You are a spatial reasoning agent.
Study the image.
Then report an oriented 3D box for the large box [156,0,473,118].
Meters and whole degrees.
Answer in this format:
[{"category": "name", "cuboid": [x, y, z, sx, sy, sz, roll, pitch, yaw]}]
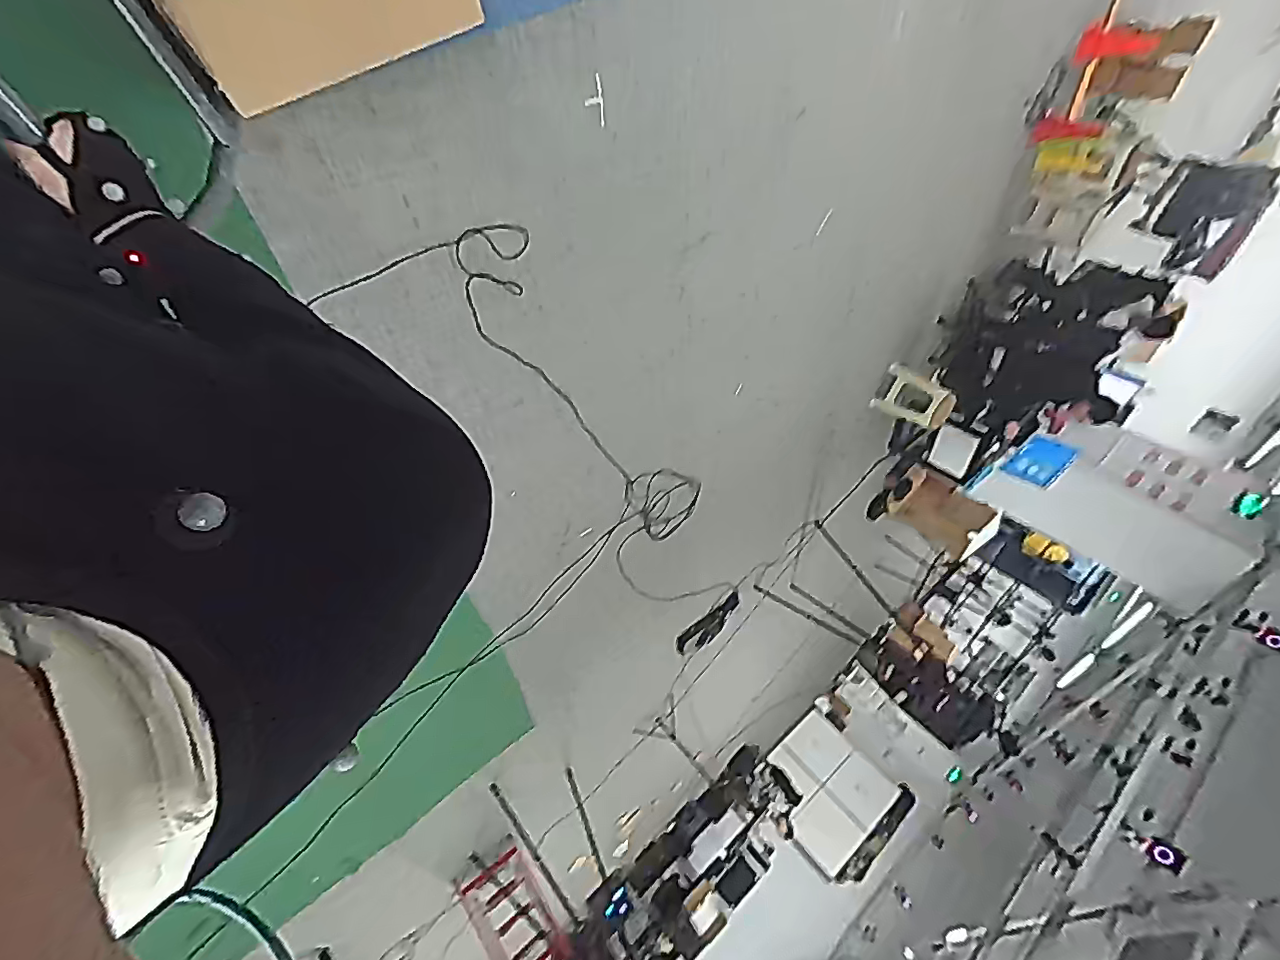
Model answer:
[{"category": "large box", "cuboid": [-0.536, -0.829, 0.819, 0.408, 0.320, 0.320, -28, 144, -8]}]
